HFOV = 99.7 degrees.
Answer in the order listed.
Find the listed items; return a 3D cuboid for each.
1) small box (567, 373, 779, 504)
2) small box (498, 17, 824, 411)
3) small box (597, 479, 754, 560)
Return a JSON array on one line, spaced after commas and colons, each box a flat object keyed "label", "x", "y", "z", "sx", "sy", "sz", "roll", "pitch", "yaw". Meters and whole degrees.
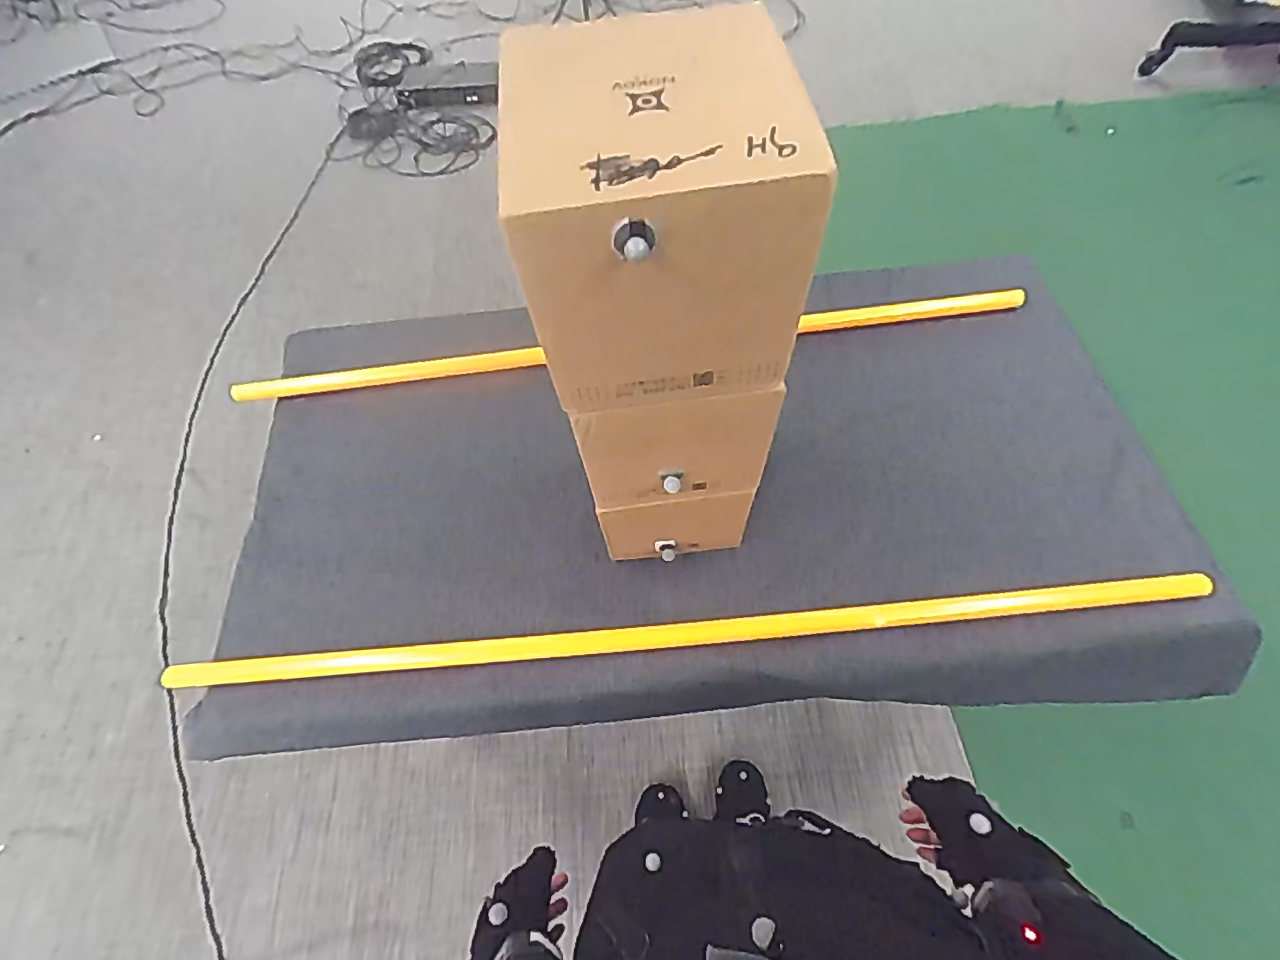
[{"label": "small box", "x": 0.023, "y": -0.096, "z": 0.520, "sx": 0.168, "sy": 0.176, "sz": 0.179, "roll": -7, "pitch": 63, "yaw": 1}, {"label": "small box", "x": 0.008, "y": -0.173, "z": 0.376, "sx": 0.168, "sy": 0.176, "sz": 0.179, "roll": -8, "pitch": 62, "yaw": 1}, {"label": "small box", "x": 0.033, "y": -0.019, "z": 0.665, "sx": 0.168, "sy": 0.176, "sz": 0.179, "roll": -9, "pitch": 64, "yaw": 1}]
